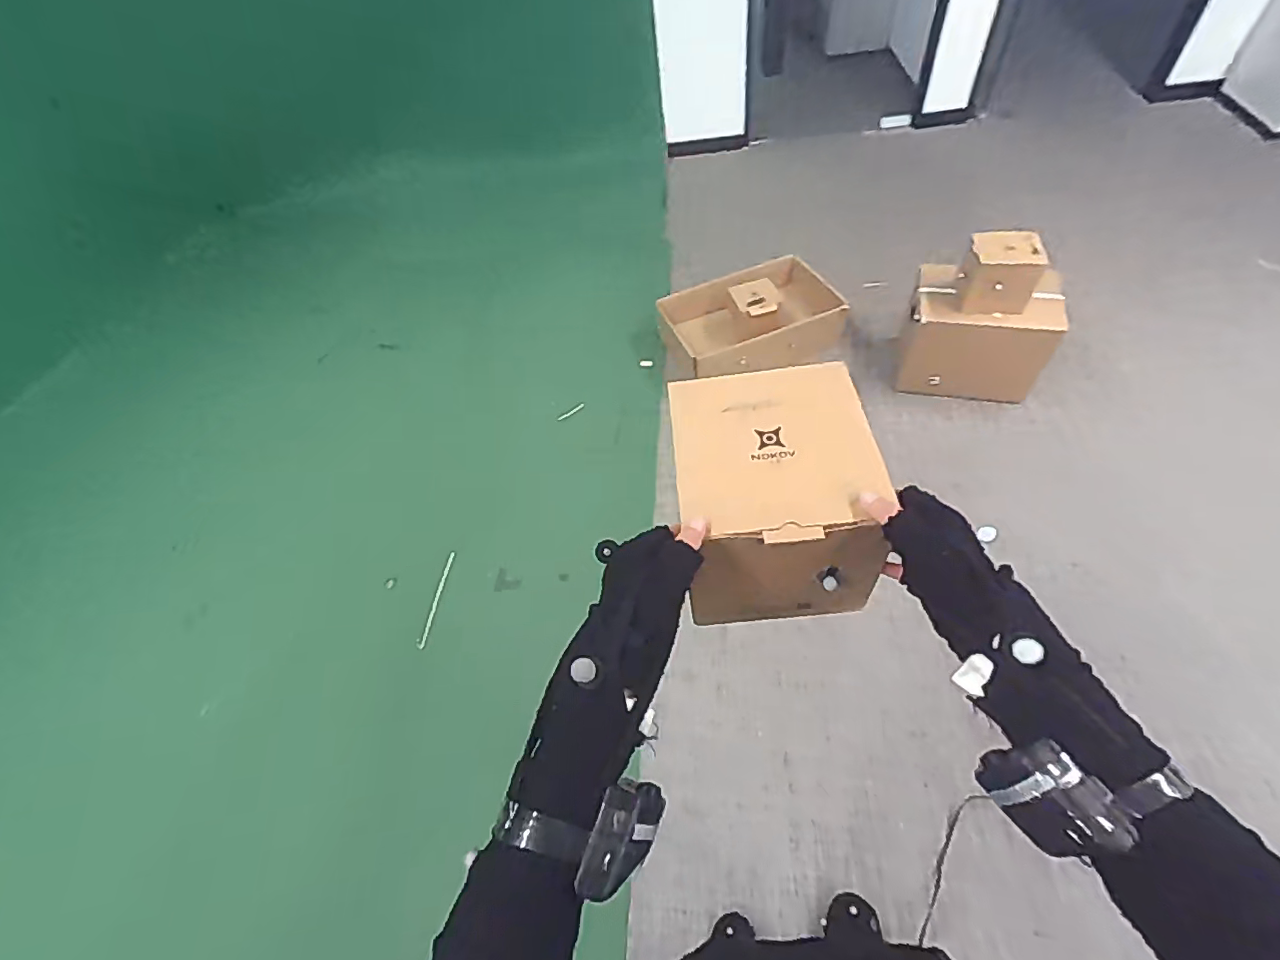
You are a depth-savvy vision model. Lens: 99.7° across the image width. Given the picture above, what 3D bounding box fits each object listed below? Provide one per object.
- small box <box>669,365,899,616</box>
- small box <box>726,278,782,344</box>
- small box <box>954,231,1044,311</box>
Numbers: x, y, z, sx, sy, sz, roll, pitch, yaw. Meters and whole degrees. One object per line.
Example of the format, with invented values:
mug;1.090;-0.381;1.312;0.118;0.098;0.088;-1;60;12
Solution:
small box;0.121;0.019;0.517;0.168;0.176;0.179;-6;51;4
small box;0.437;-0.640;2.075;0.168;0.176;0.179;-15;51;-1
small box;1.068;-0.625;1.627;0.179;0.176;0.168;4;55;13
